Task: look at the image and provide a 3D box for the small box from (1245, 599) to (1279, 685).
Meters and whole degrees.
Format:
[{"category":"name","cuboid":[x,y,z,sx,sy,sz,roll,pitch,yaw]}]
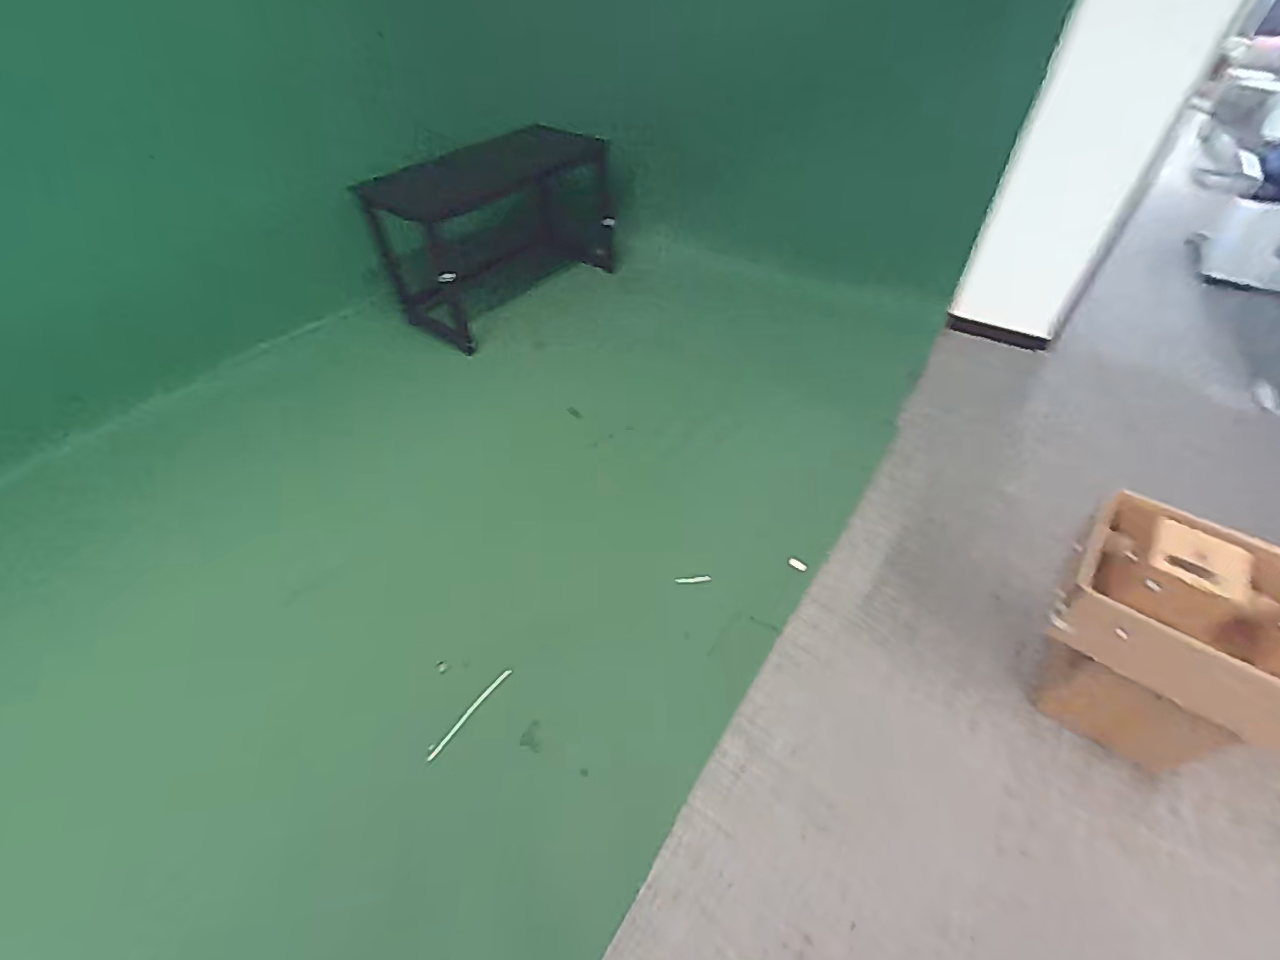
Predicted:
[{"category":"small box","cuboid":[1.432,0.344,1.126,0.168,0.176,0.179,31,57,28]}]
